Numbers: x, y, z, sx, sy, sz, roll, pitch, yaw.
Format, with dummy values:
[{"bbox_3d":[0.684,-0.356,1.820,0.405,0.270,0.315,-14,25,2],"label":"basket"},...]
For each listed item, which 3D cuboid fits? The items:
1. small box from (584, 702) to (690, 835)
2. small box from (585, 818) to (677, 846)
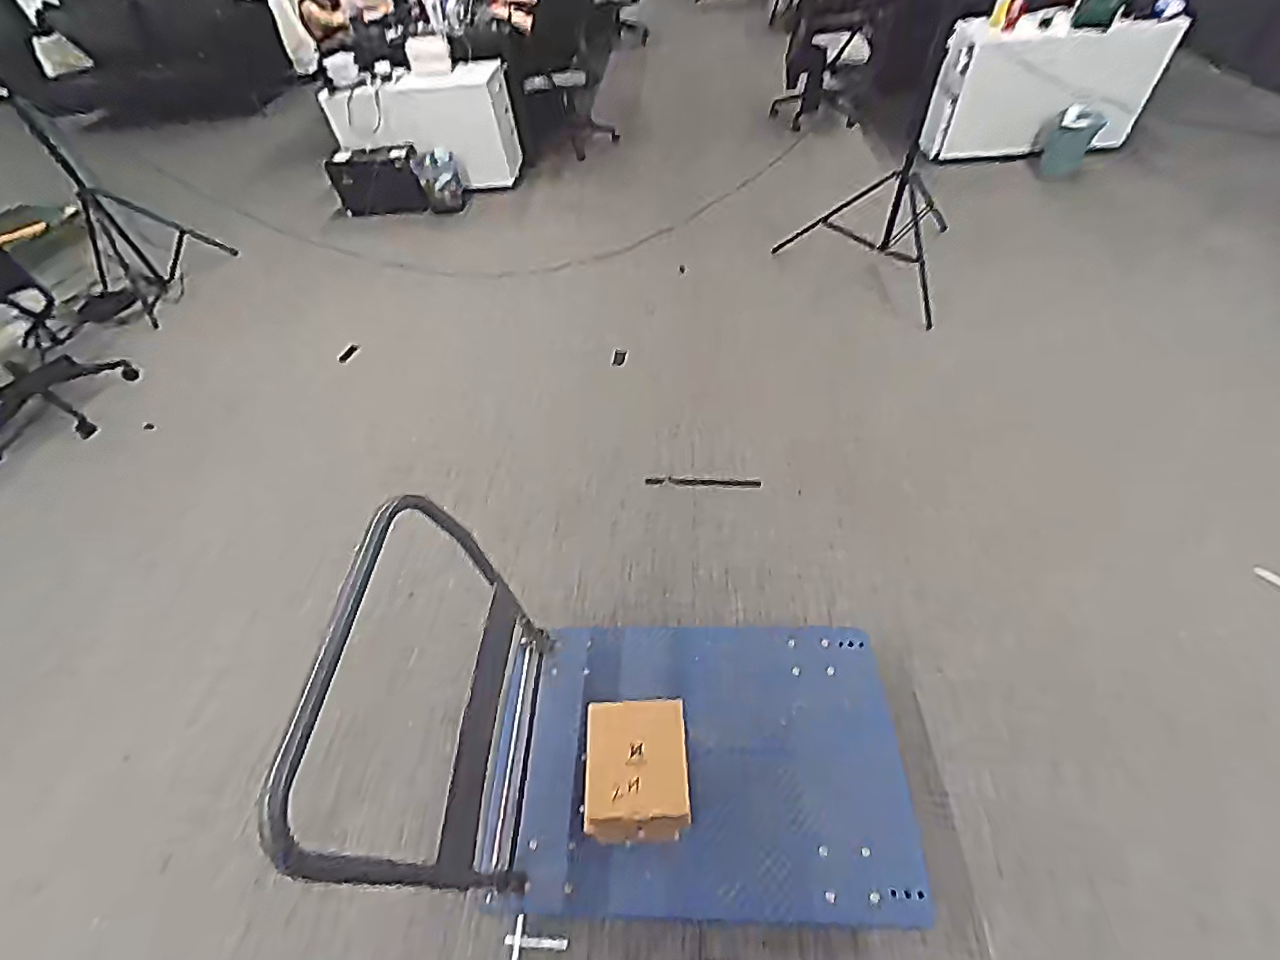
[{"bbox_3d":[-0.001,0.507,0.947,0.168,0.176,0.179,-4,51,3],"label":"small box"},{"bbox_3d":[-0.014,0.612,1.075,0.168,0.176,0.179,-4,51,2],"label":"small box"}]
